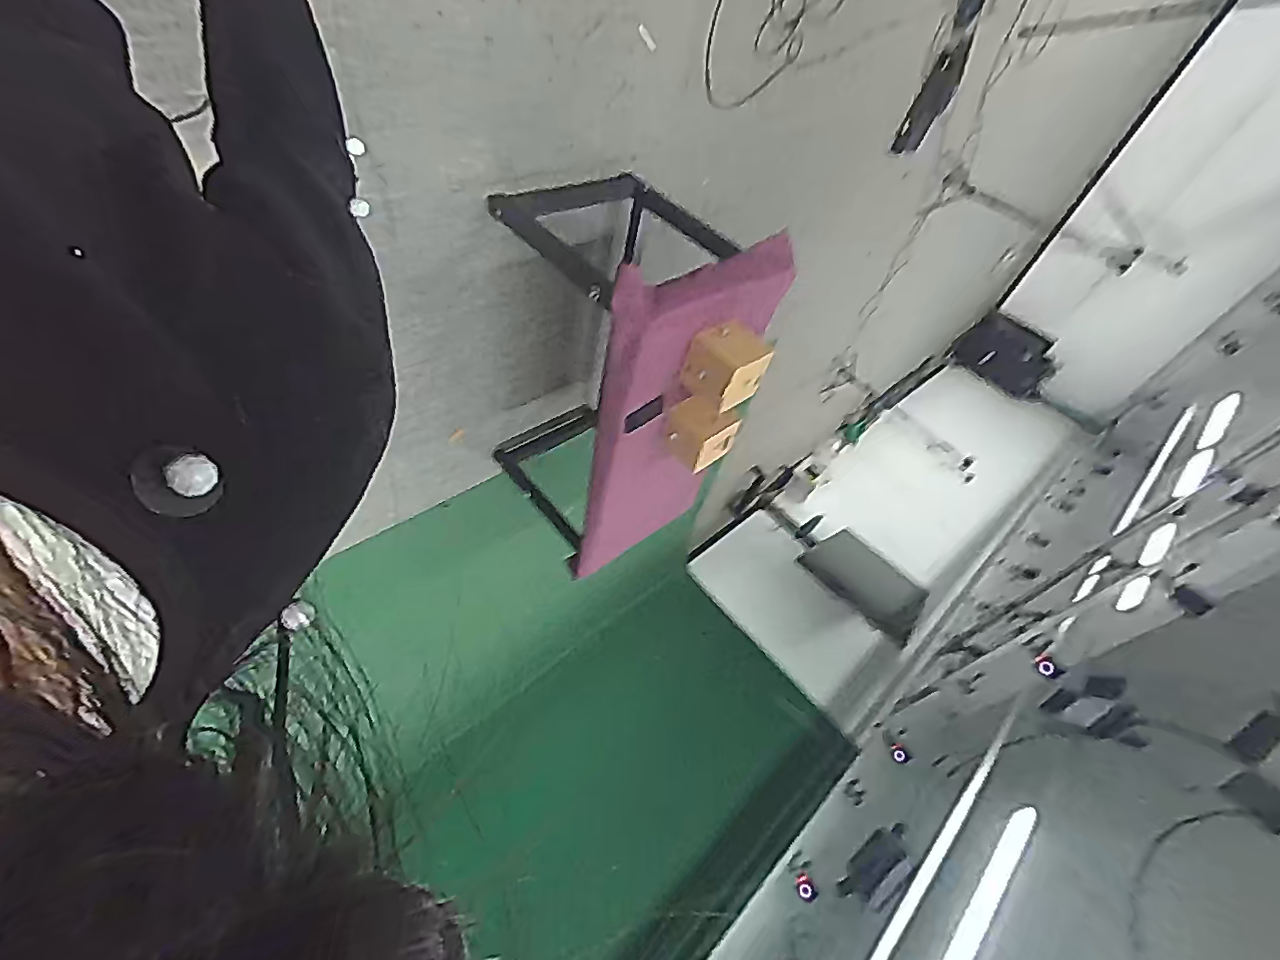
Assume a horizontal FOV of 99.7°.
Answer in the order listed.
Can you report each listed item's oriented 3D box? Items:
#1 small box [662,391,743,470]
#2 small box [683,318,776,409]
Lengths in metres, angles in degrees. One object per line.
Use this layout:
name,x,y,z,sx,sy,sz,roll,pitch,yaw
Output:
small box,0.200,-0.170,1.763,0.179,0.176,0.168,-31,153,-28
small box,0.251,-0.341,1.561,0.179,0.176,0.168,-28,152,-33
